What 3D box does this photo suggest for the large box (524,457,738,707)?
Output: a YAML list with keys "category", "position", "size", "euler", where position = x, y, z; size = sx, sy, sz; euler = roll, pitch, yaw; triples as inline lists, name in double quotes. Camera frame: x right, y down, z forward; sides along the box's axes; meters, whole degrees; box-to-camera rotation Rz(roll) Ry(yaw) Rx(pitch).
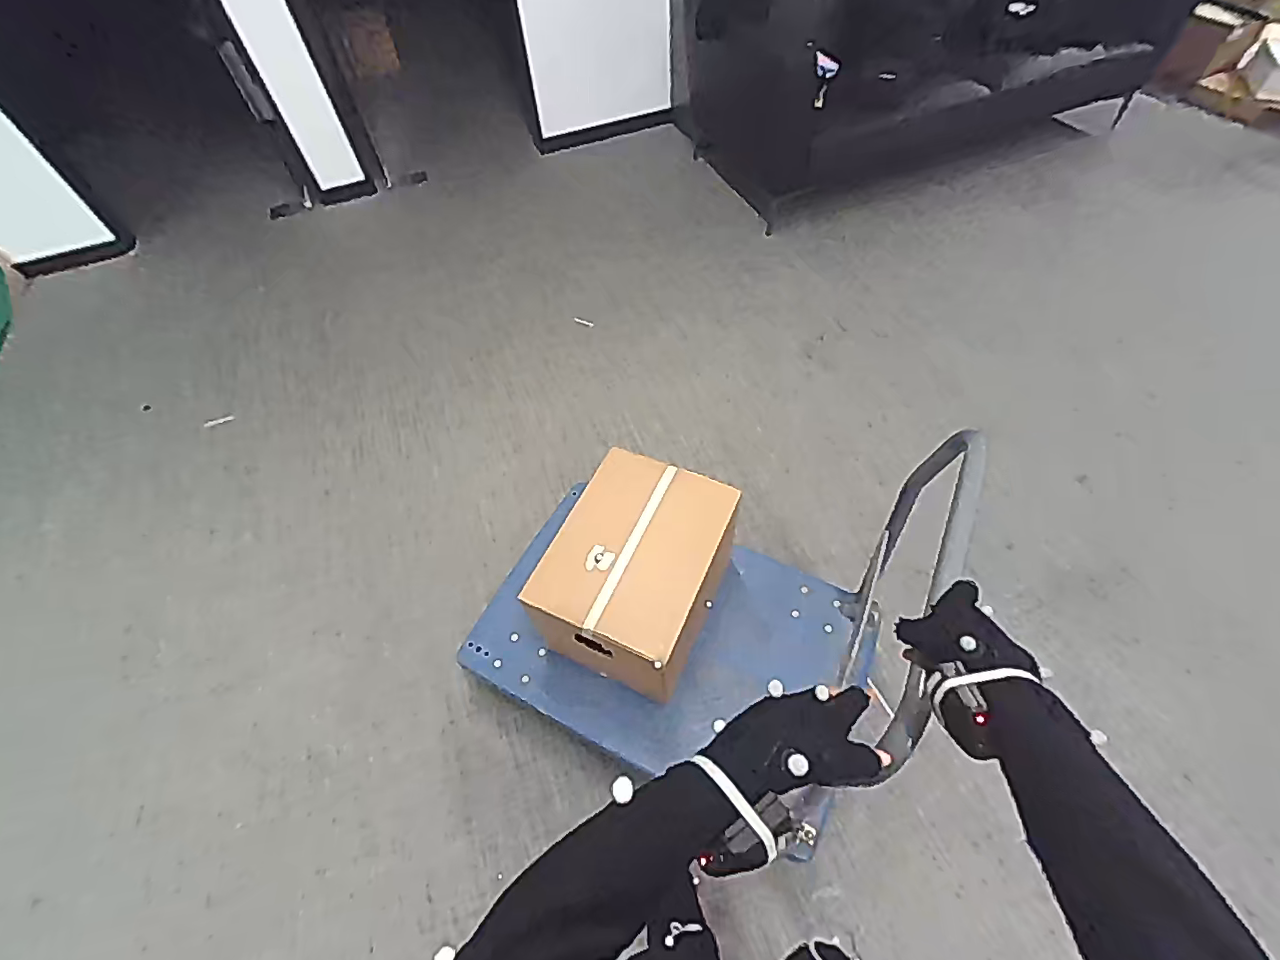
- category: "large box"
  position: [0.002, 0.225, 1.214]
  size: [0.320, 0.320, 0.408]
  euler: [19, 59, 18]
